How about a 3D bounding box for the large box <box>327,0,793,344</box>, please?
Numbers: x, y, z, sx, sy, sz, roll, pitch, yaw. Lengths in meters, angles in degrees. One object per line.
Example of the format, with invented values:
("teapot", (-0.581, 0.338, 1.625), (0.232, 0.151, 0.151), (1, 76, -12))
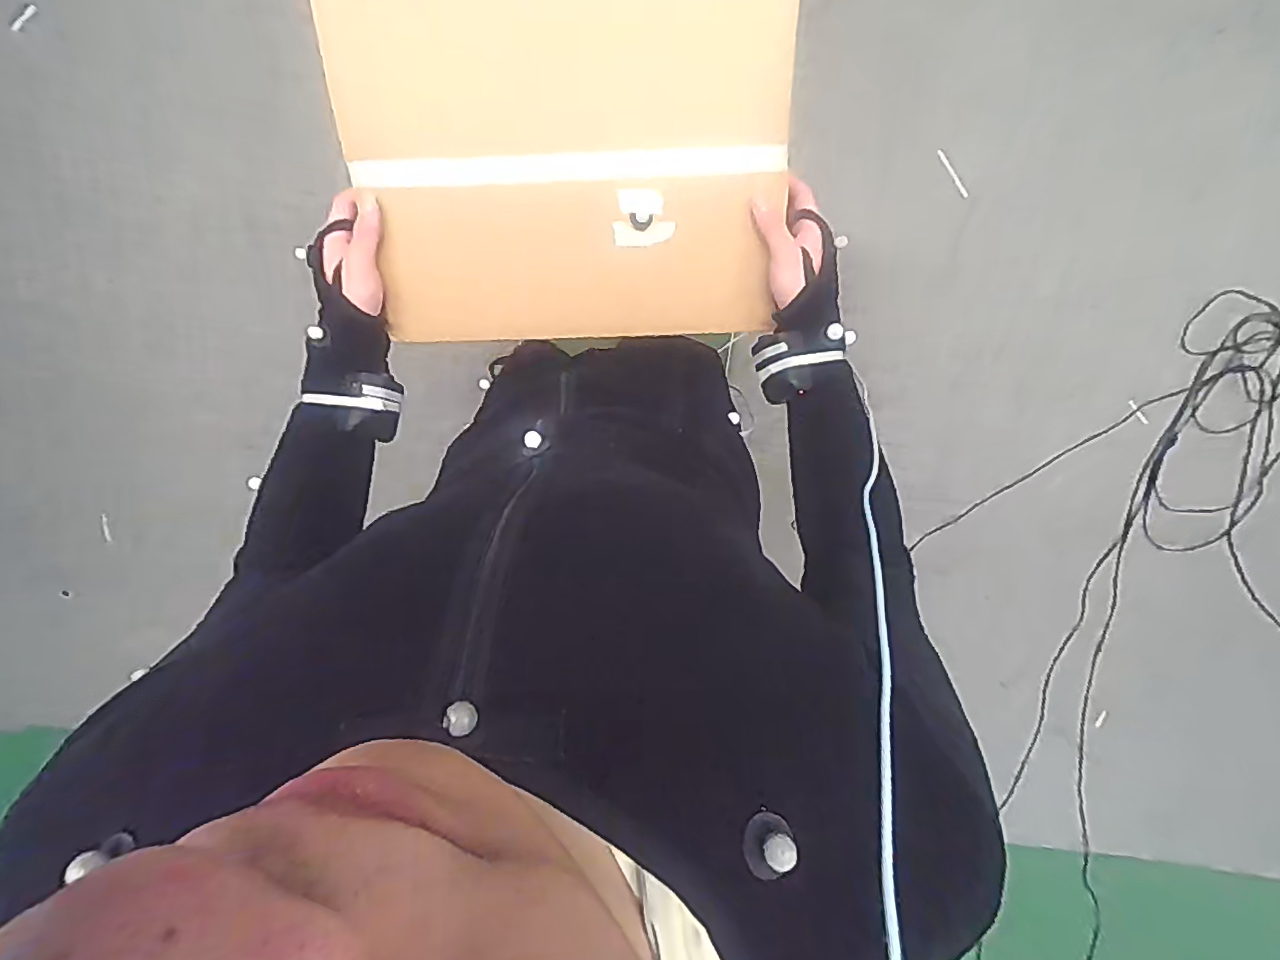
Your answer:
("large box", (-0.066, -0.356, 0.648), (0.408, 0.320, 0.320), (-2, 116, 0))
